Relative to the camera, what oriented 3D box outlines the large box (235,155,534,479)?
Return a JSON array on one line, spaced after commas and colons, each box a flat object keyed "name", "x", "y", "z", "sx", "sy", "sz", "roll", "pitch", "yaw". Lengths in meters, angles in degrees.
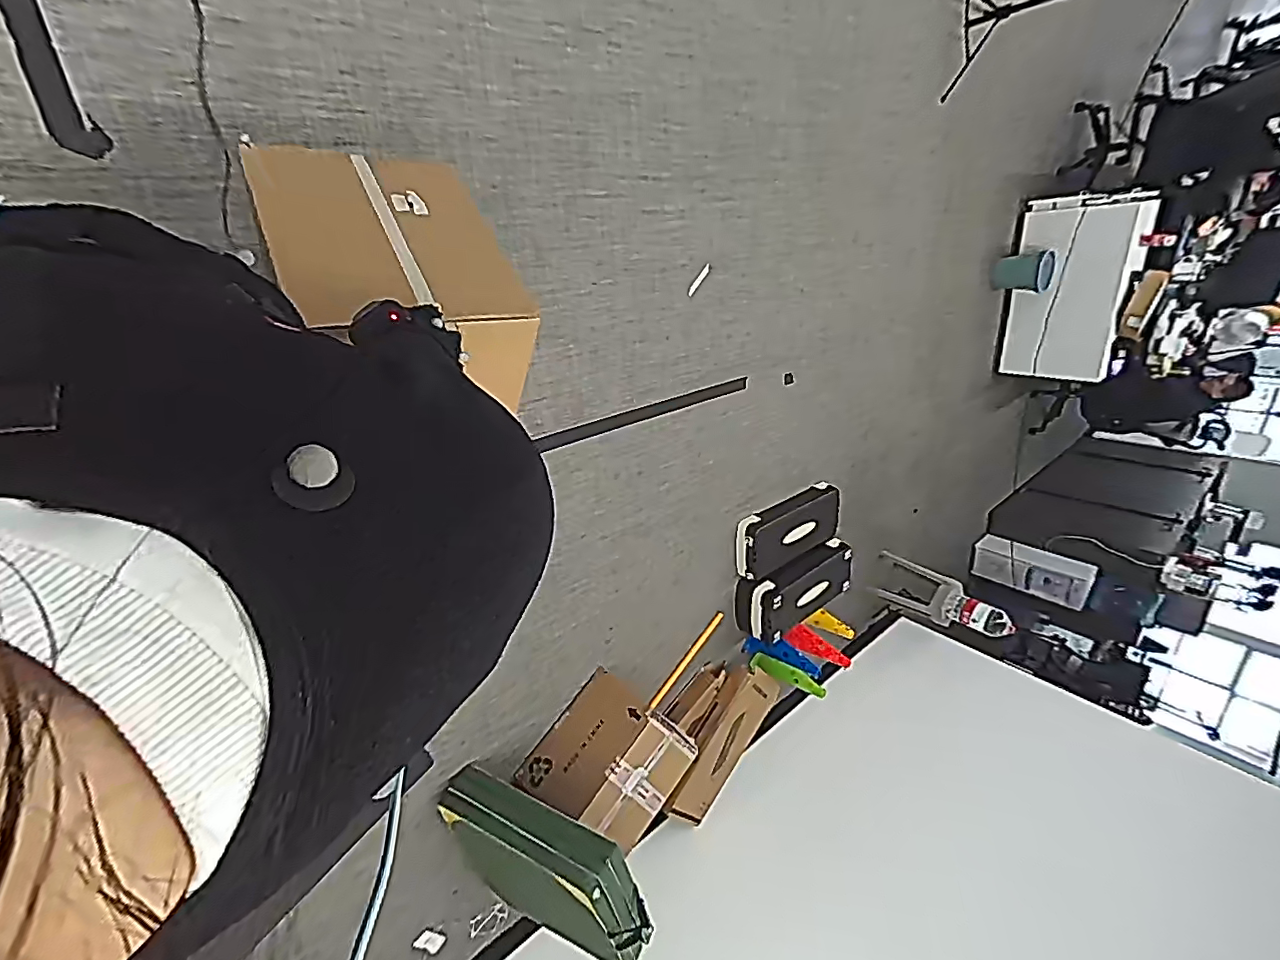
[{"name": "large box", "x": -0.423, "y": -0.270, "z": 0.907, "sx": 0.320, "sy": 0.408, "sz": 0.320, "roll": -15, "pitch": 151, "yaw": -34}]
